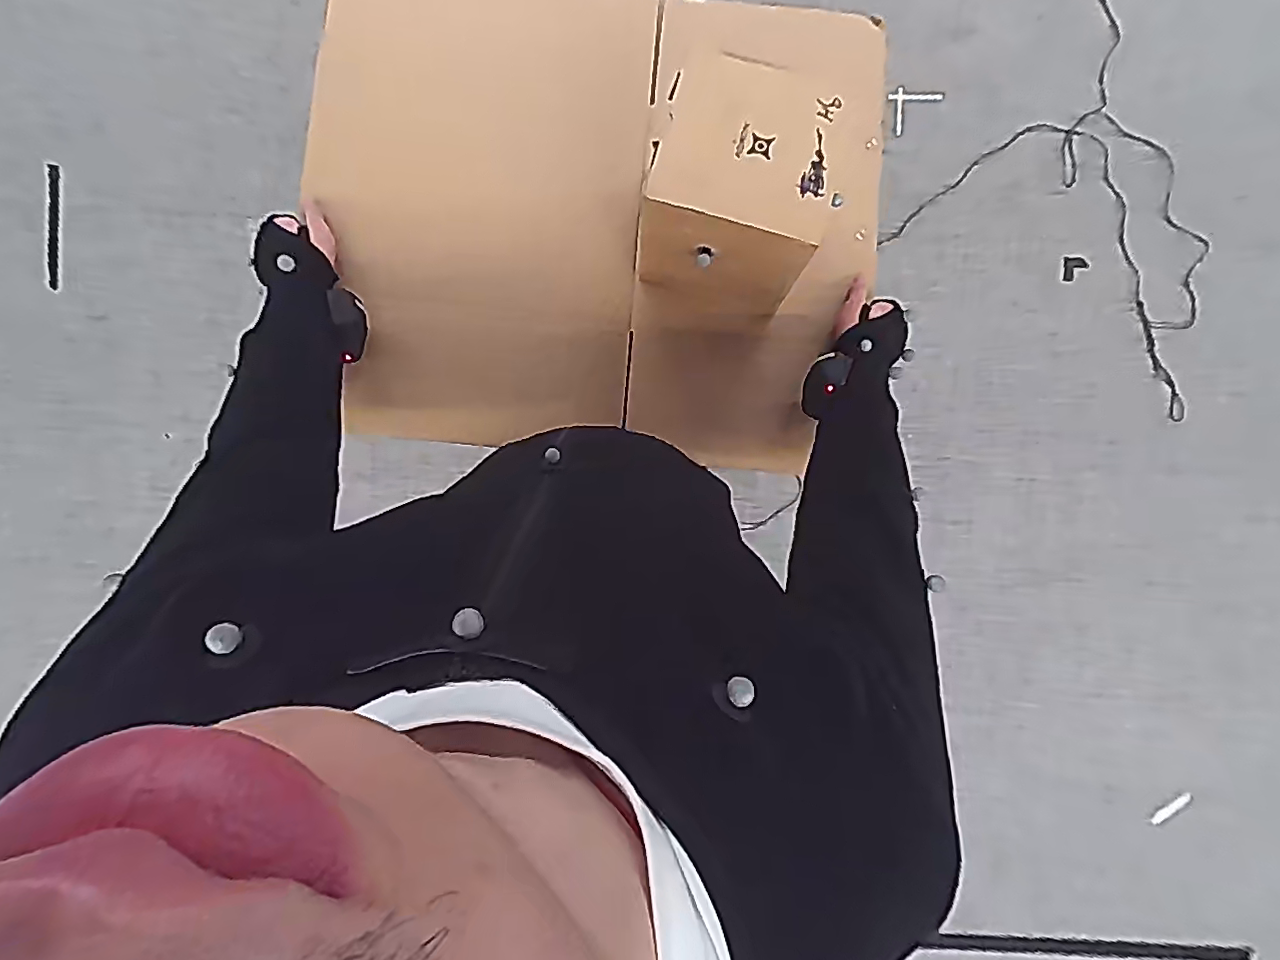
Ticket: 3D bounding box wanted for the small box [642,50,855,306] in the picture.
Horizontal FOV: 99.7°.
[{"bbox_3d":[0.106,-0.317,0.603,0.179,0.176,0.168,16,85,1],"label":"small box"}]
